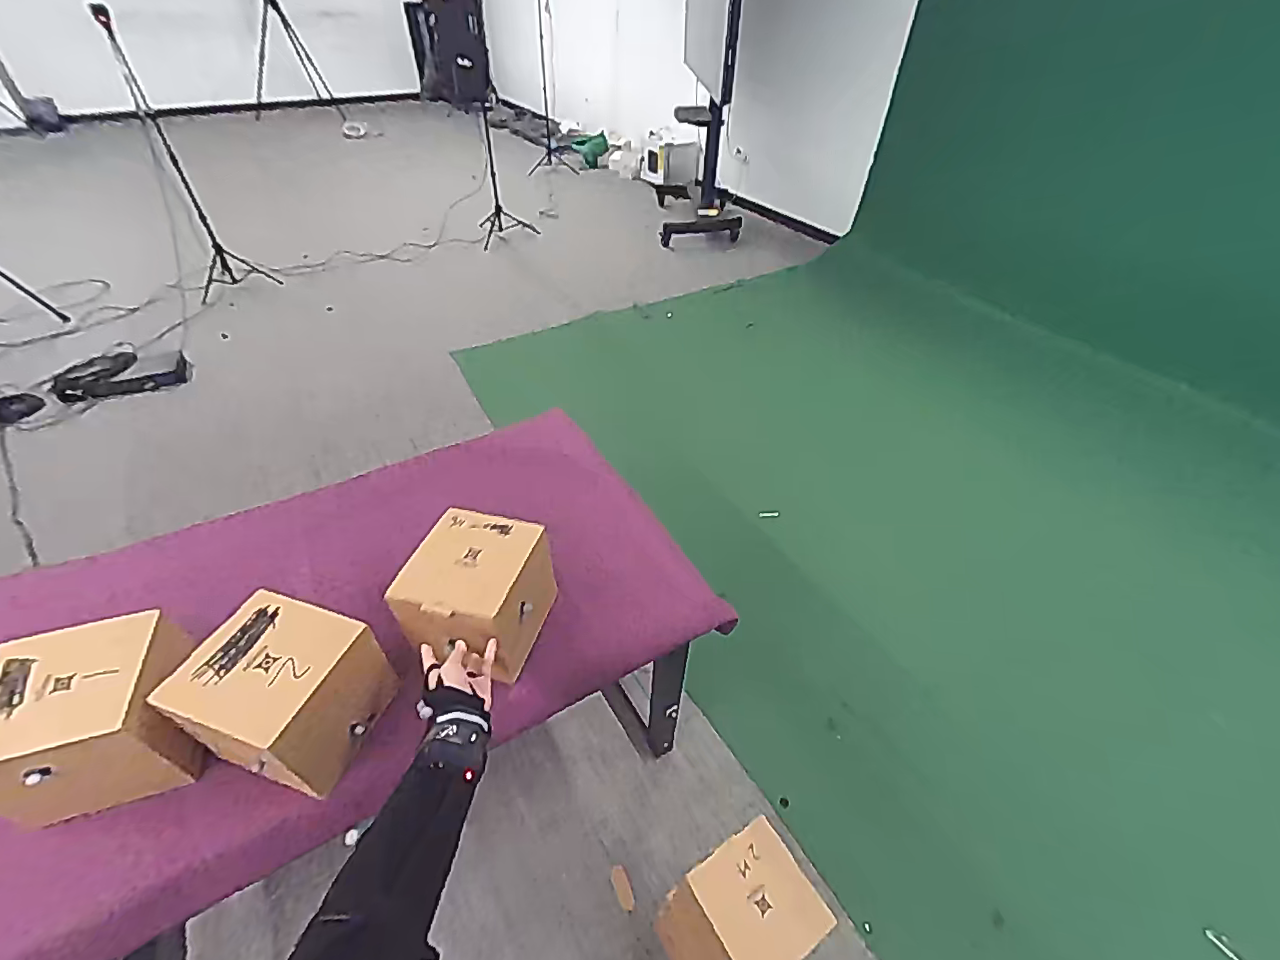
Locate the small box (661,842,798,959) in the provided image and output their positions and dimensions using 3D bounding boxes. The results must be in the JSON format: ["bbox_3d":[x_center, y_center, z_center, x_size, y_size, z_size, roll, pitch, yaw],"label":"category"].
[{"bbox_3d":[0.153,0.819,0.992,0.168,0.176,0.179,-23,51,-25],"label":"small box"}]

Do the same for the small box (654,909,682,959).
[{"bbox_3d":[0.141,0.938,1.101,0.179,0.176,0.168,-20,48,-23],"label":"small box"}]

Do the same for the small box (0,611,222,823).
[{"bbox_3d":[-0.679,0.298,0.680,0.179,0.176,0.168,-11,45,-15],"label":"small box"}]

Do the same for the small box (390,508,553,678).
[{"bbox_3d":[-0.241,0.174,0.829,0.168,0.176,0.179,11,42,10],"label":"small box"}]
